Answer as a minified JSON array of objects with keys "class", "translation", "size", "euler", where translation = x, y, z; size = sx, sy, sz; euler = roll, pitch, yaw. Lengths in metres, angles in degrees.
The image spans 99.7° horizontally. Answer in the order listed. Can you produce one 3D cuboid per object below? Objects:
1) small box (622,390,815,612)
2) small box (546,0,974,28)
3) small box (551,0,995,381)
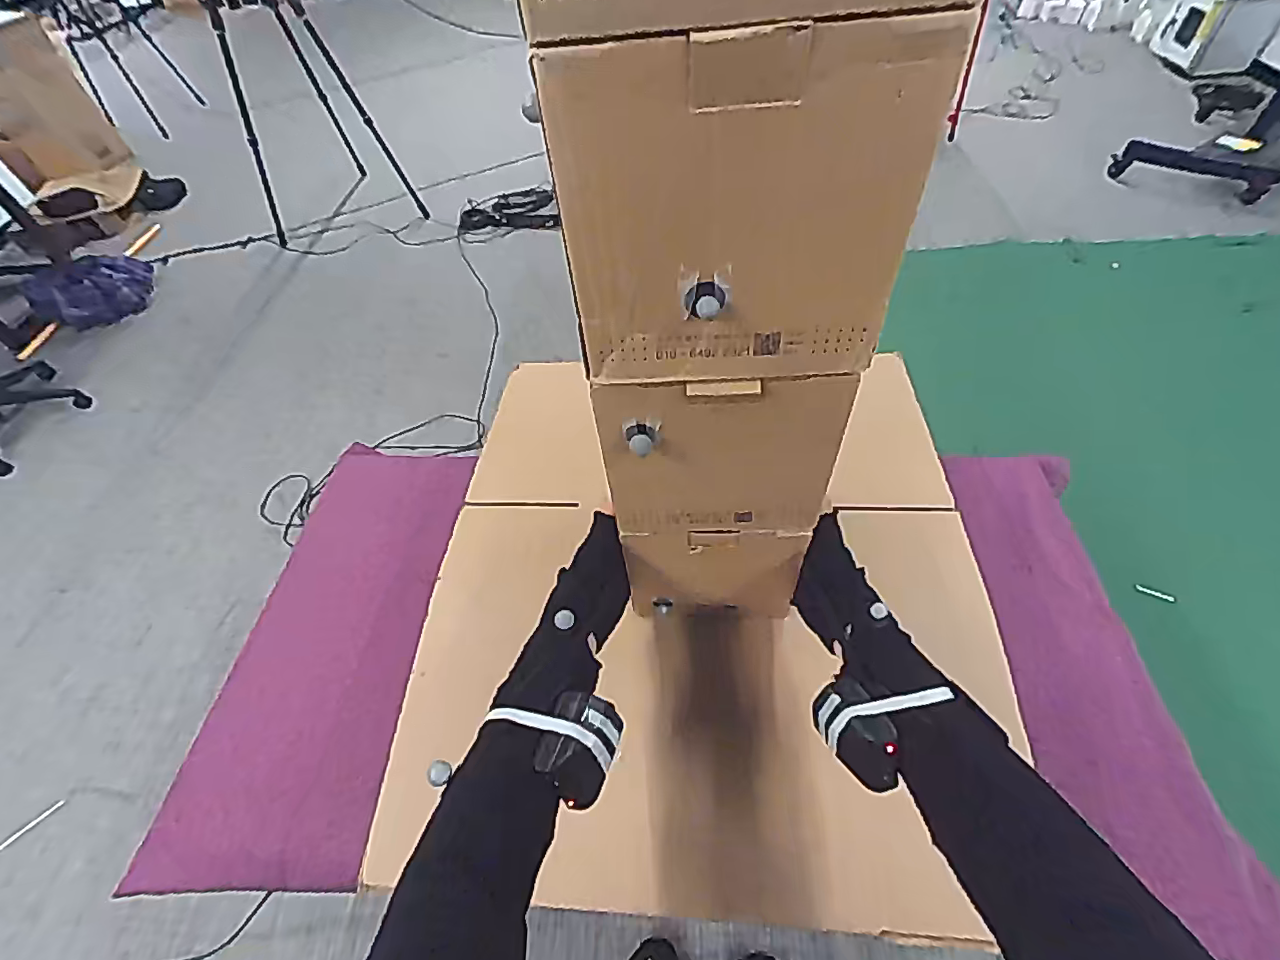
[{"class":"small box","translation":[0.073,0.030,0.565],"size":[0.168,0.176,0.179],"euler":[-3,53,3]},{"class":"small box","translation":[0.041,-0.282,0.186],"size":[0.168,0.176,0.179],"euler":[-2,52,4]},{"class":"small box","translation":[0.052,-0.177,0.313],"size":[0.168,0.176,0.179],"euler":[-2,52,3]}]
